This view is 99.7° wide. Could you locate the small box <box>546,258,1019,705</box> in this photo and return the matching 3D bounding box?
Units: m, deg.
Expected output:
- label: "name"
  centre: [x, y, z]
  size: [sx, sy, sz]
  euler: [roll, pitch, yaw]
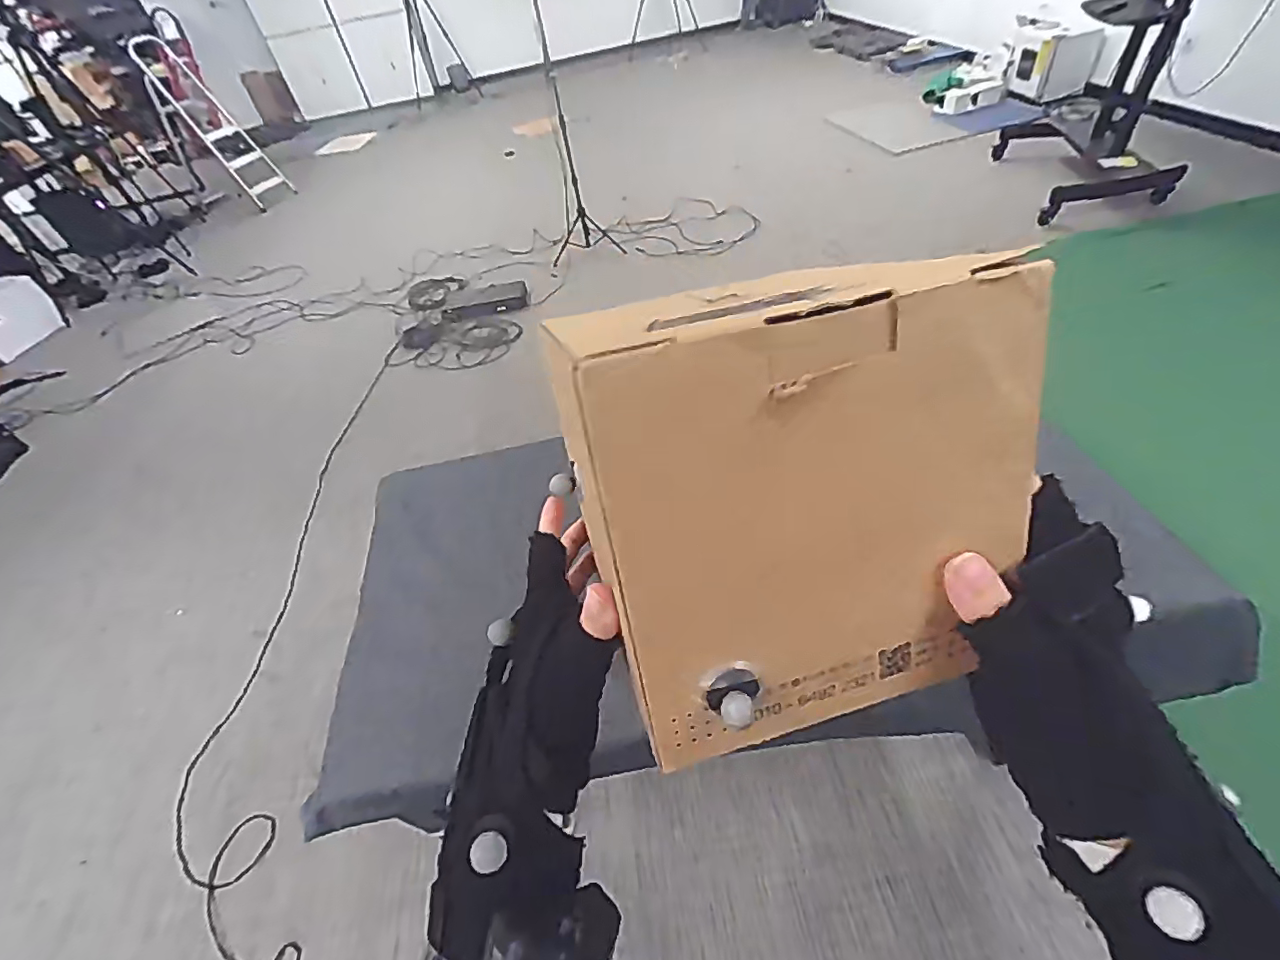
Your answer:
- label: "small box"
  centre: [0.054, -0.010, 0.285]
  size: [0.168, 0.176, 0.179]
  euler: [-13, 21, -9]
